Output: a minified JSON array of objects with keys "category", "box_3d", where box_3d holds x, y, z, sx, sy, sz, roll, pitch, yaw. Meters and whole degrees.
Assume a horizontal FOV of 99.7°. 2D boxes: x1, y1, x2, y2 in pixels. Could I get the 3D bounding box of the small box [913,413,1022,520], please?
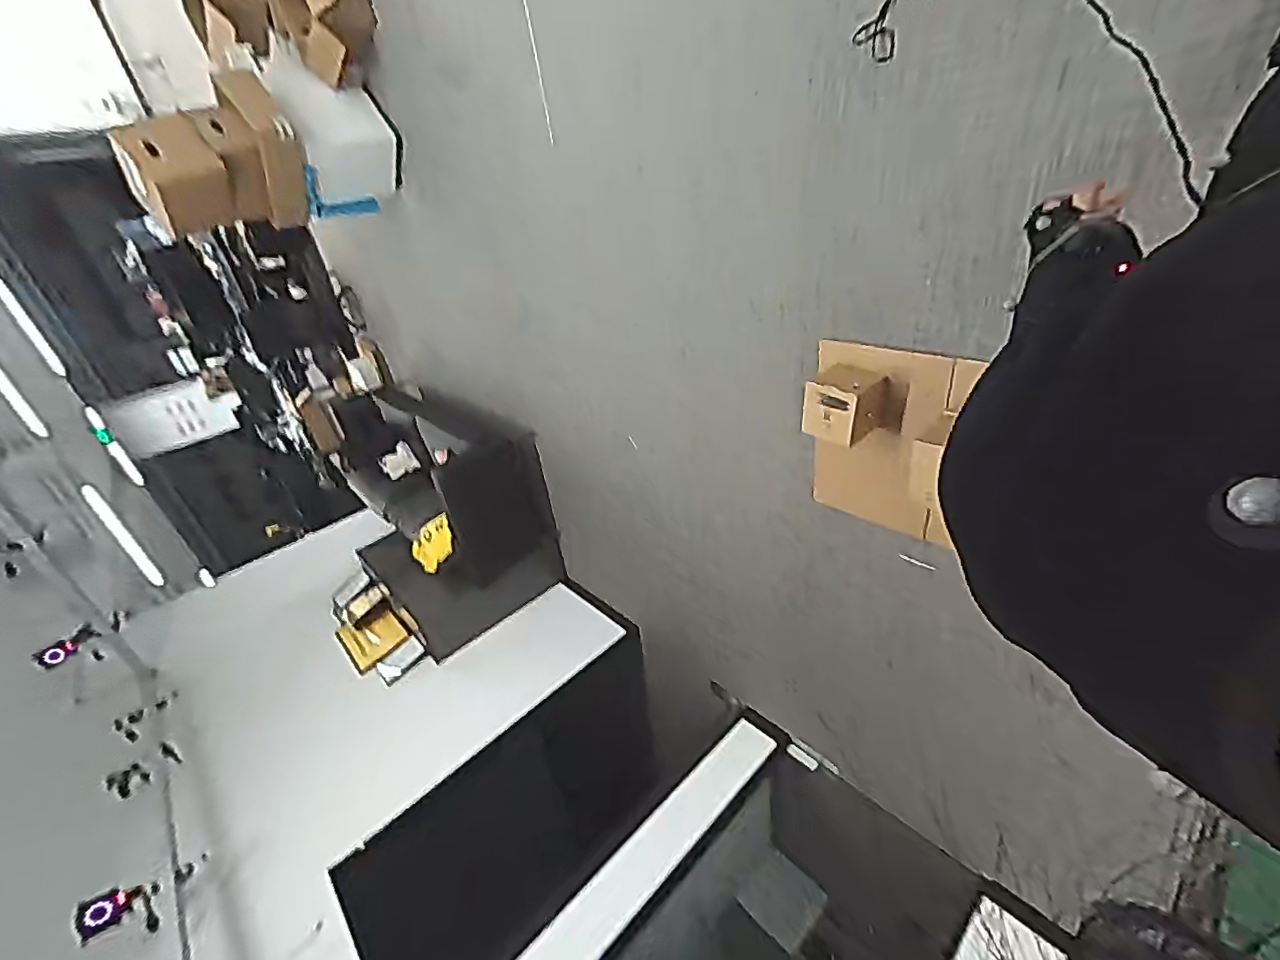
[{"category":"small box","box_3d":[0.771,-0.040,1.274,0.168,0.176,0.179,23,134,44]}]
